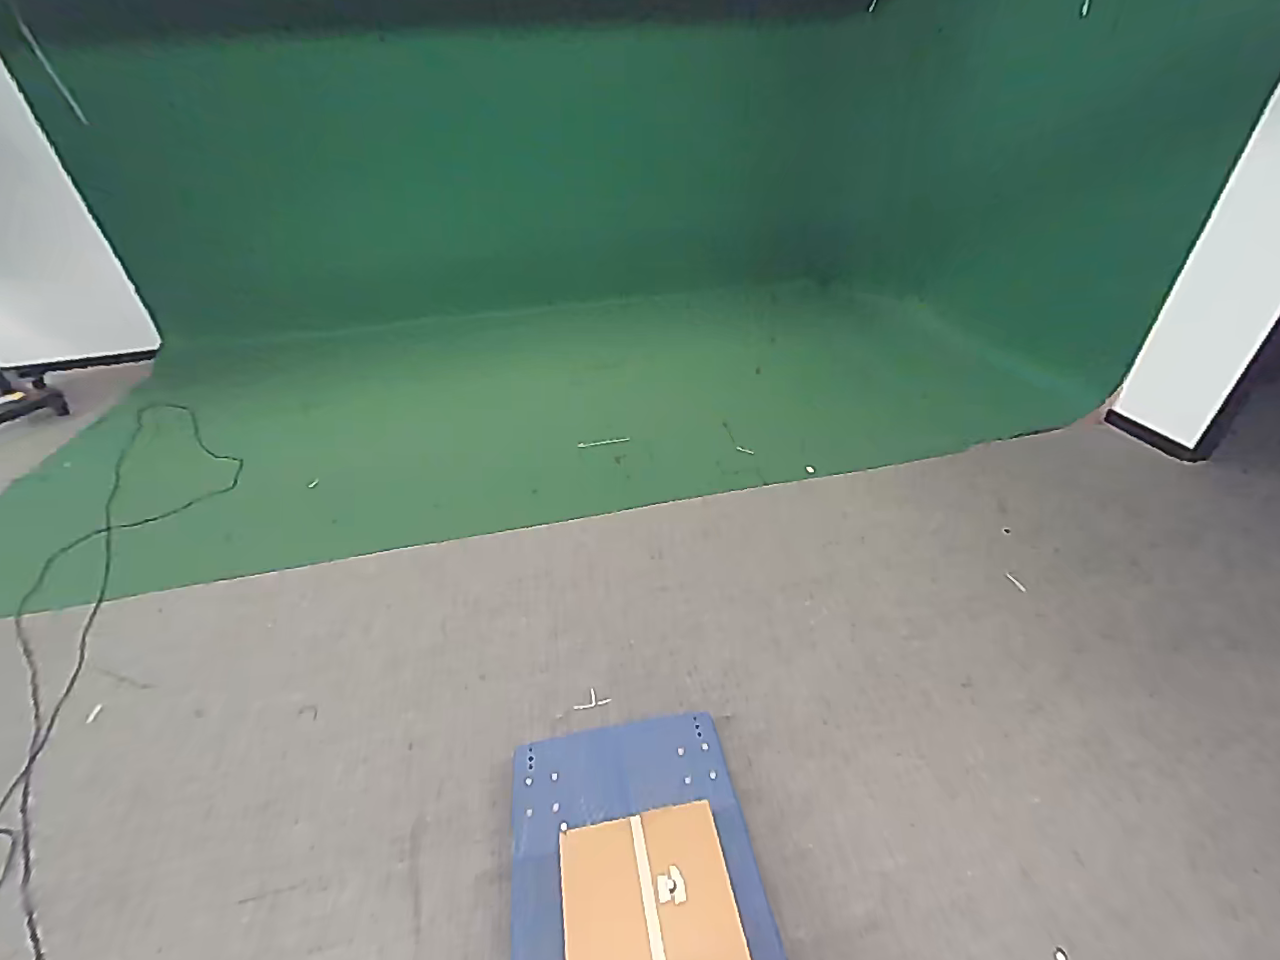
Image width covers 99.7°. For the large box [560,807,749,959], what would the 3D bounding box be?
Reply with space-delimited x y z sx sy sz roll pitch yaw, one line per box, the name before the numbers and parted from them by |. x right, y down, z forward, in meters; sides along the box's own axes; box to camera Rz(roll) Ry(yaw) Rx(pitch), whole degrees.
large box | 0.033 0.937 1.036 0.320 0.320 0.408 -8 35 -7
